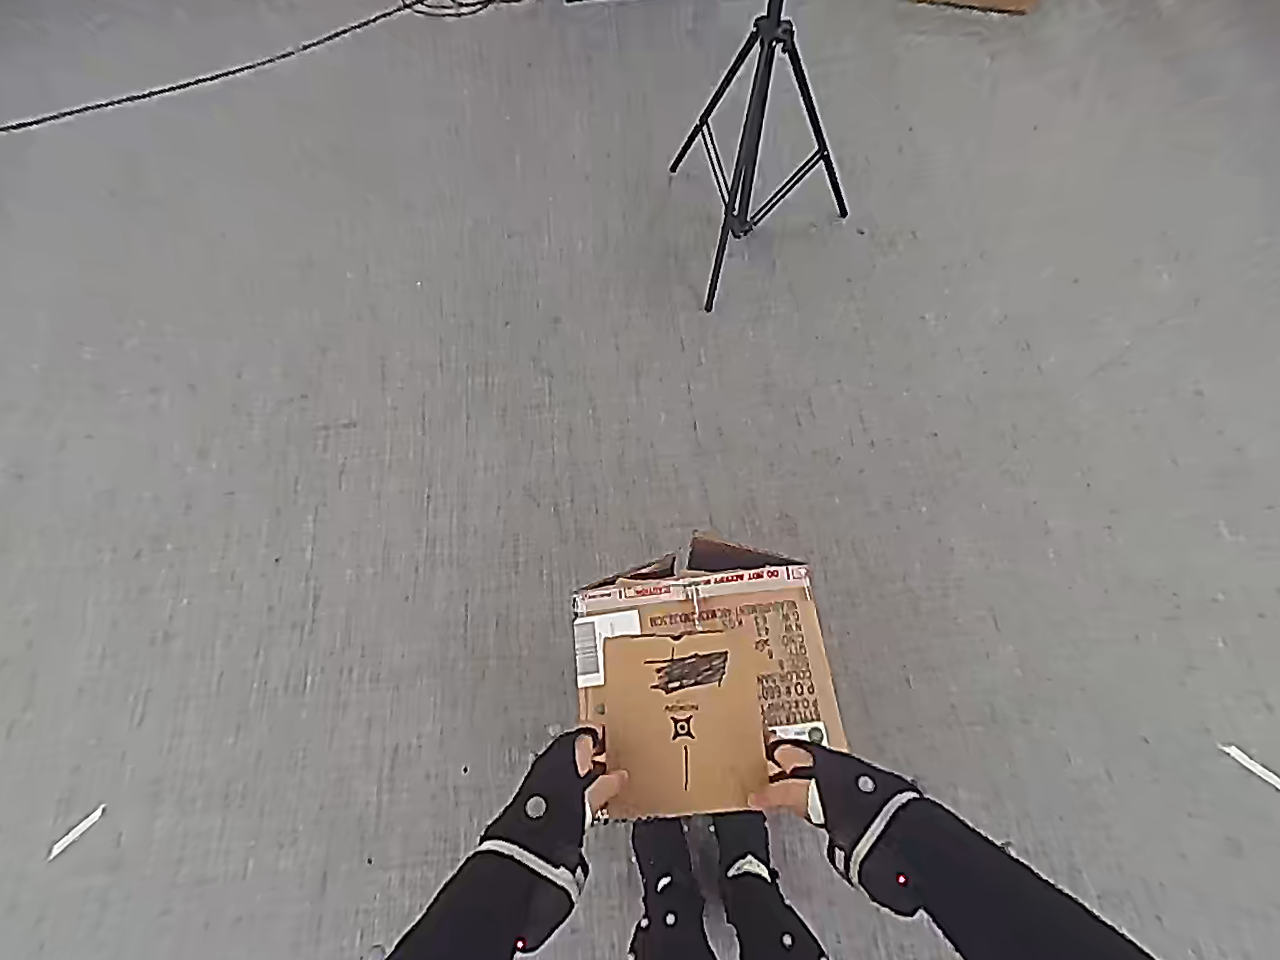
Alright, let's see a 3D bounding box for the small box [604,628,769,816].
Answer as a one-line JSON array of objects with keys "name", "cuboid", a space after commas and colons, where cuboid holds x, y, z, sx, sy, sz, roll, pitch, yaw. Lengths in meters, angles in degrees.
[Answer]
[{"name": "small box", "cuboid": [0.046, 0.279, 0.641, 0.168, 0.176, 0.179, -4, 69, 1]}]
